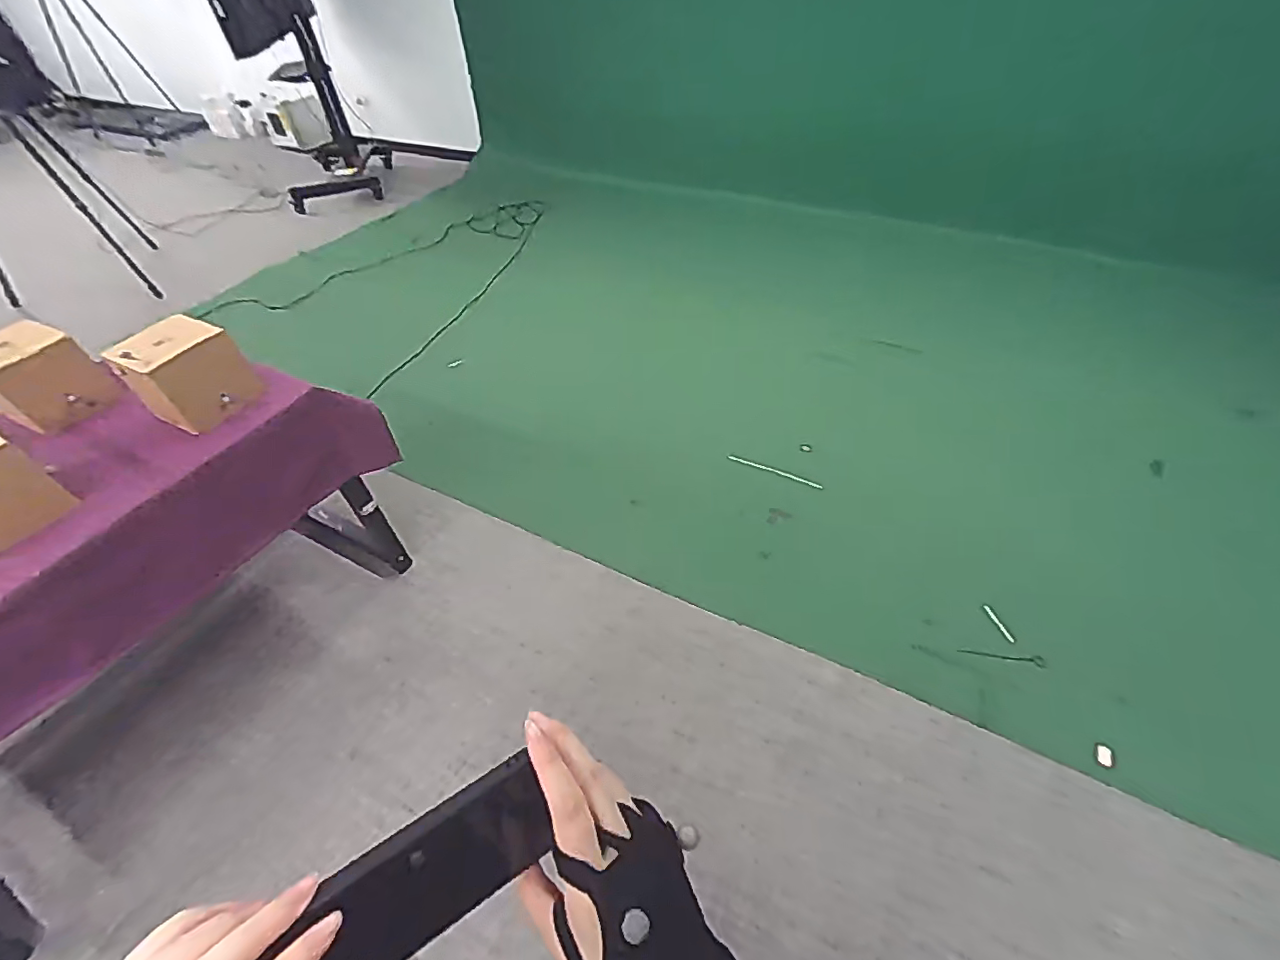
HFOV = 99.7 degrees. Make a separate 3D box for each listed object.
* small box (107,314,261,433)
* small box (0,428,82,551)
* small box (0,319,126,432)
[{"bbox_3d":[-0.984,-0.235,1.192,0.168,0.176,0.179,19,51,20],"label":"small box"},{"bbox_3d":[-1.190,0.014,0.973,0.168,0.176,0.179,23,52,22],"label":"small box"},{"bbox_3d":[-1.330,-0.231,1.205,0.179,0.176,0.168,19,51,19],"label":"small box"}]
